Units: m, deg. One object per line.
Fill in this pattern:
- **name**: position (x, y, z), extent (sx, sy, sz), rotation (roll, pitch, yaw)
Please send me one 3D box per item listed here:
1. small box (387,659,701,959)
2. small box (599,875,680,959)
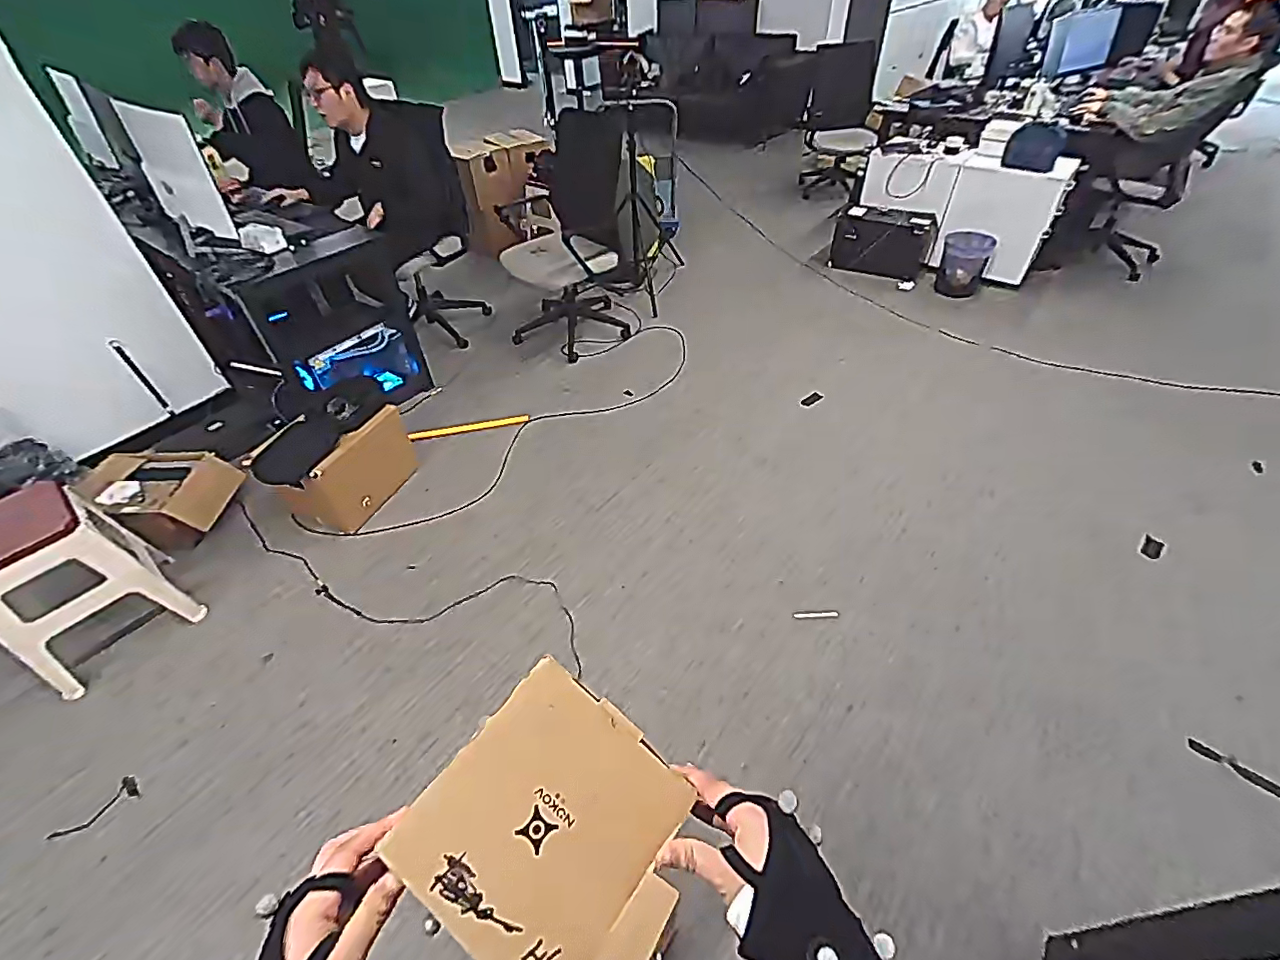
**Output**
- **small box**: position (-0.078, 0.290, 0.470), extent (0.168, 0.176, 0.179), rotation (38, 62, 13)
- **small box**: position (-0.038, 0.811, 0.986), extent (0.168, 0.176, 0.179), rotation (23, 49, 23)
